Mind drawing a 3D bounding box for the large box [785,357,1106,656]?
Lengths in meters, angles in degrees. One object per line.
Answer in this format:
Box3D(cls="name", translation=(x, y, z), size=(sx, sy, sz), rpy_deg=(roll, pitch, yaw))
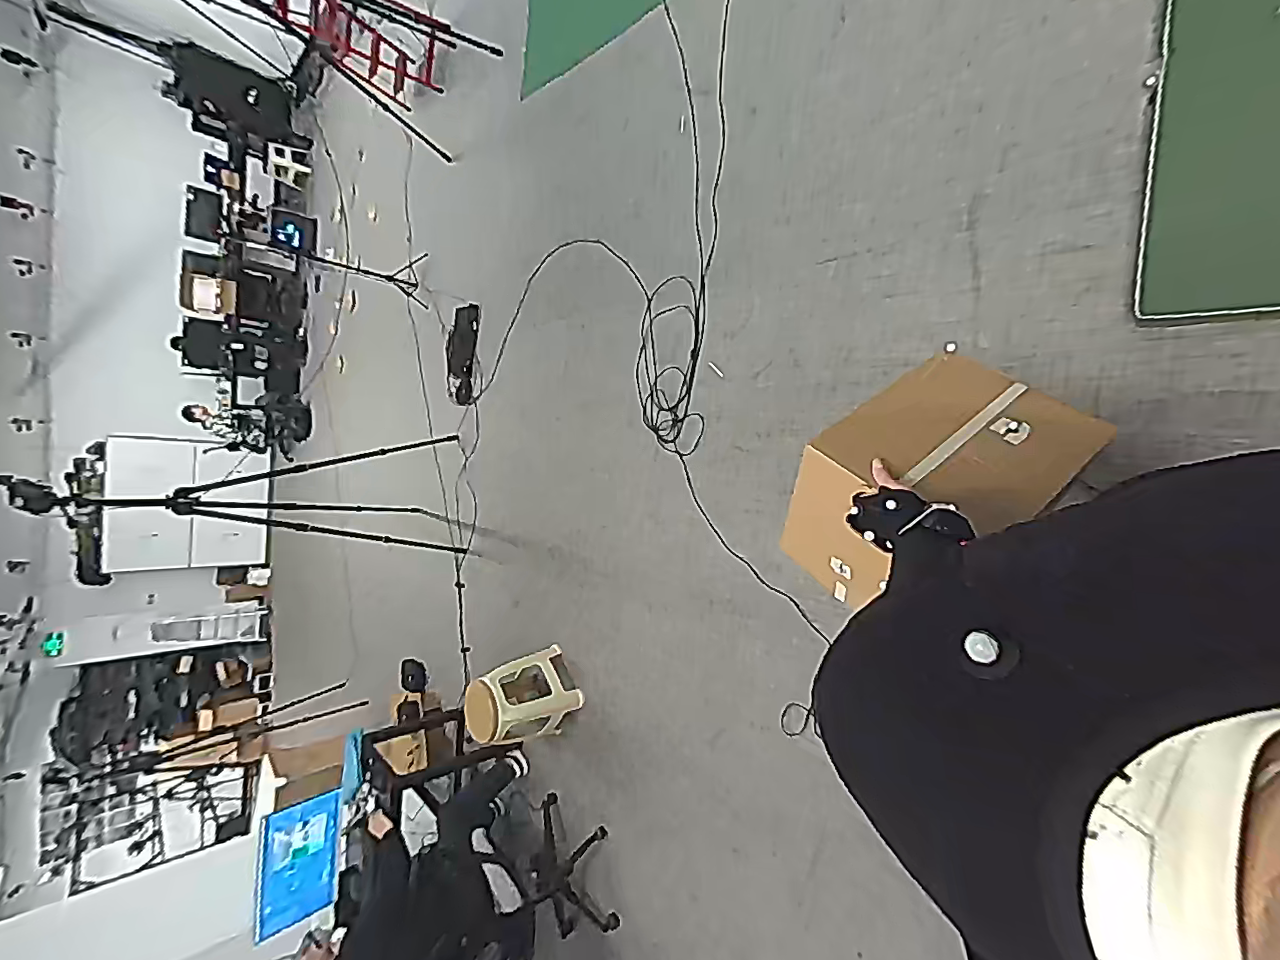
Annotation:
Box3D(cls="large box", translation=(0.534, 0.038, 1.004), size=(0.320, 0.408, 0.320), rpy_deg=(42, 151, 33))
